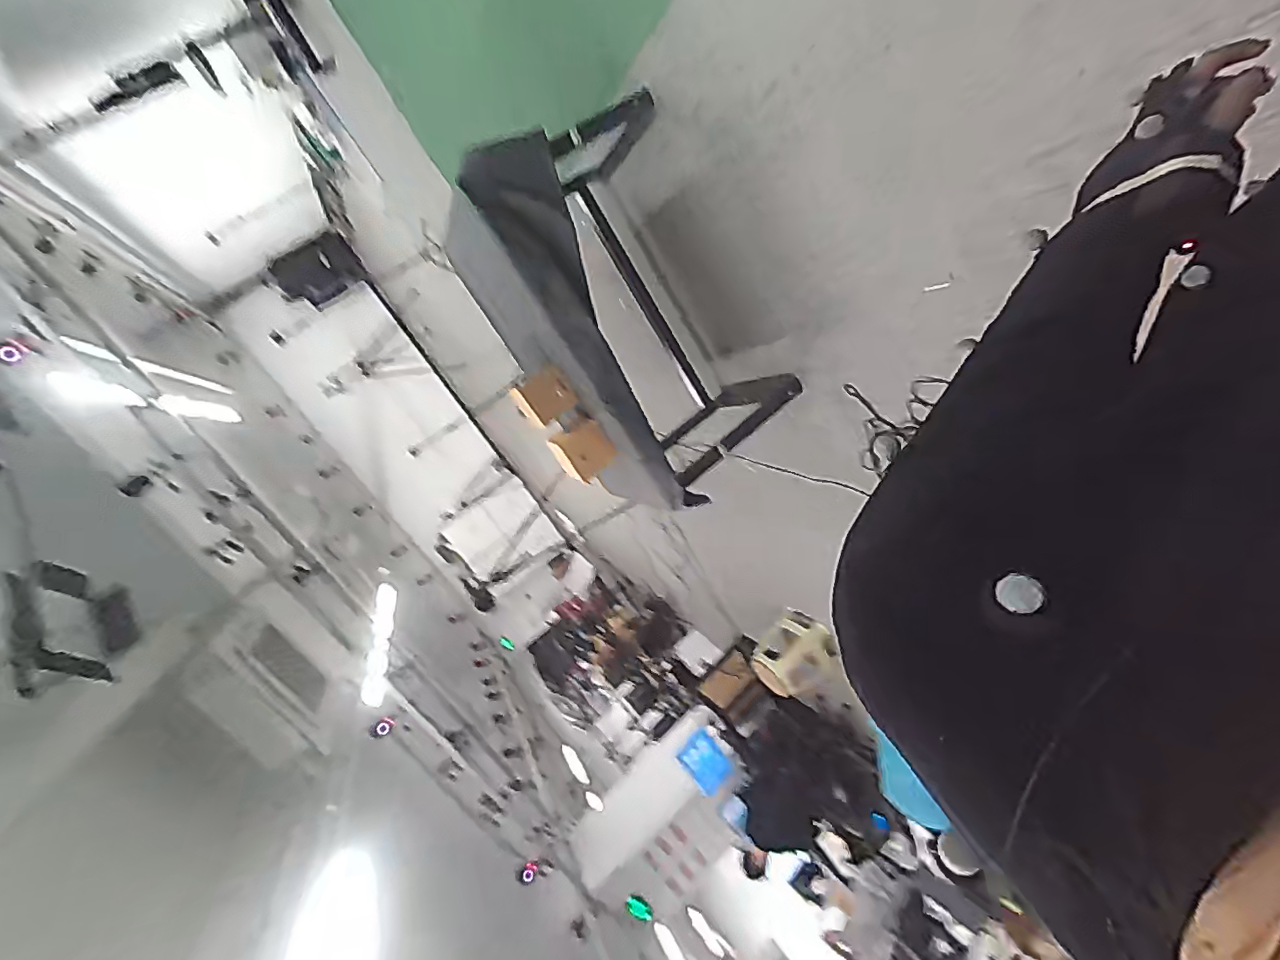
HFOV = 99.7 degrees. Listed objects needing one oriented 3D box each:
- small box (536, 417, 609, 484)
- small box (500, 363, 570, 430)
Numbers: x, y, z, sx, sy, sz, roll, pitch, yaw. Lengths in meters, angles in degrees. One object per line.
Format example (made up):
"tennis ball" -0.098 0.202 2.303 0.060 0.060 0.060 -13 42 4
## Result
"small box" -0.245 -0.114 1.988 0.168 0.176 0.179 20 145 59
"small box" -0.375 -0.299 1.942 0.168 0.176 0.179 54 162 -14
